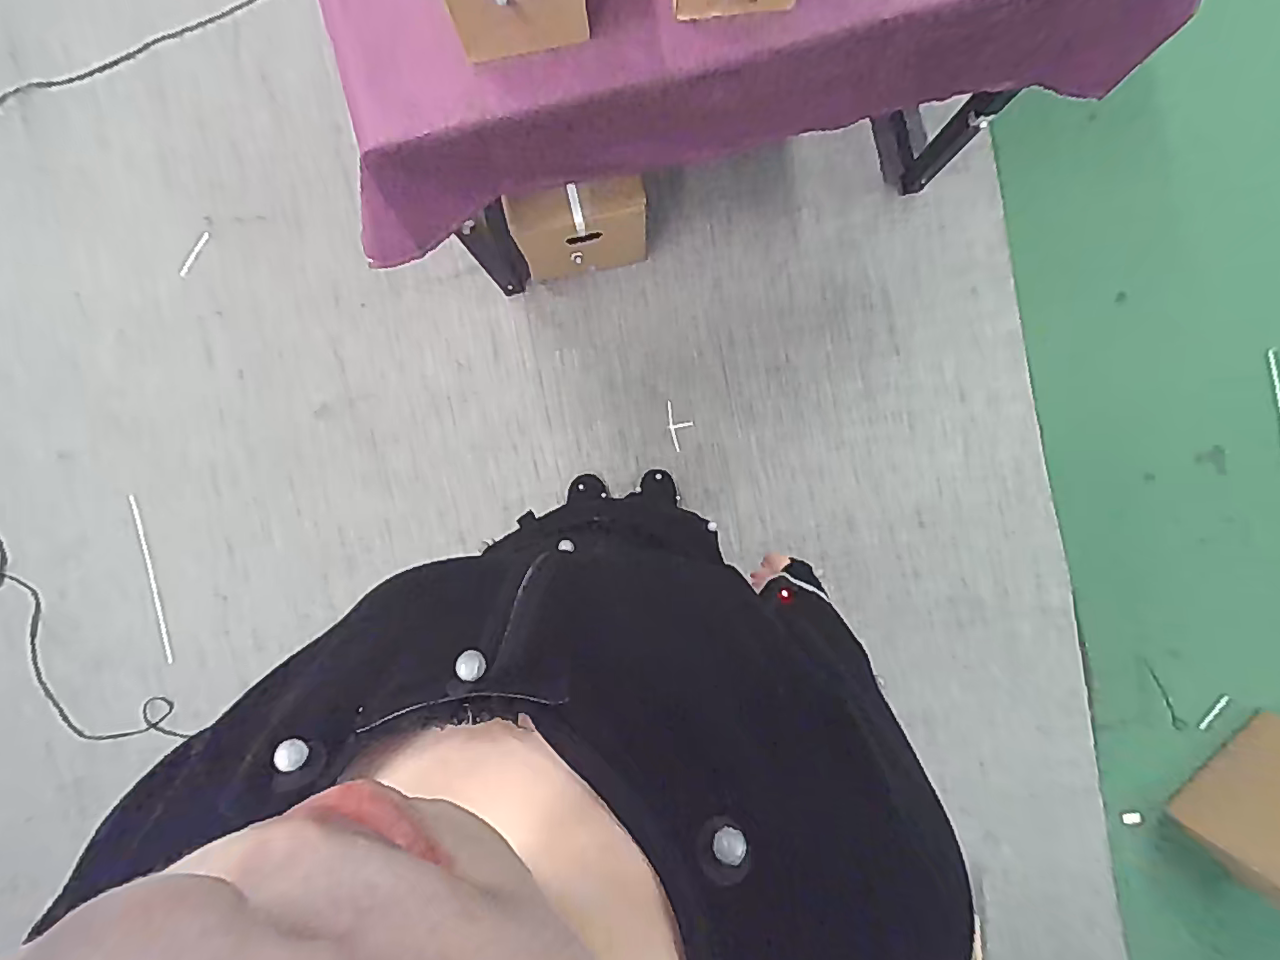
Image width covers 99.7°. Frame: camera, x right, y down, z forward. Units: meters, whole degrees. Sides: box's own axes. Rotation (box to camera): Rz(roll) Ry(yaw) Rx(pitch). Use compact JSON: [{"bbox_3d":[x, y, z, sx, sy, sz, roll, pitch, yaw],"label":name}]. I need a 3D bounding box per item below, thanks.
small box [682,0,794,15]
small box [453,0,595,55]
[{"bbox_3d":[0.130,-0.737,0.671,0.168,0.176,0.179,-5,93,1],"label":"small box"},{"bbox_3d":[-0.162,-0.679,0.674,0.179,0.176,0.168,-10,92,2],"label":"small box"}]
